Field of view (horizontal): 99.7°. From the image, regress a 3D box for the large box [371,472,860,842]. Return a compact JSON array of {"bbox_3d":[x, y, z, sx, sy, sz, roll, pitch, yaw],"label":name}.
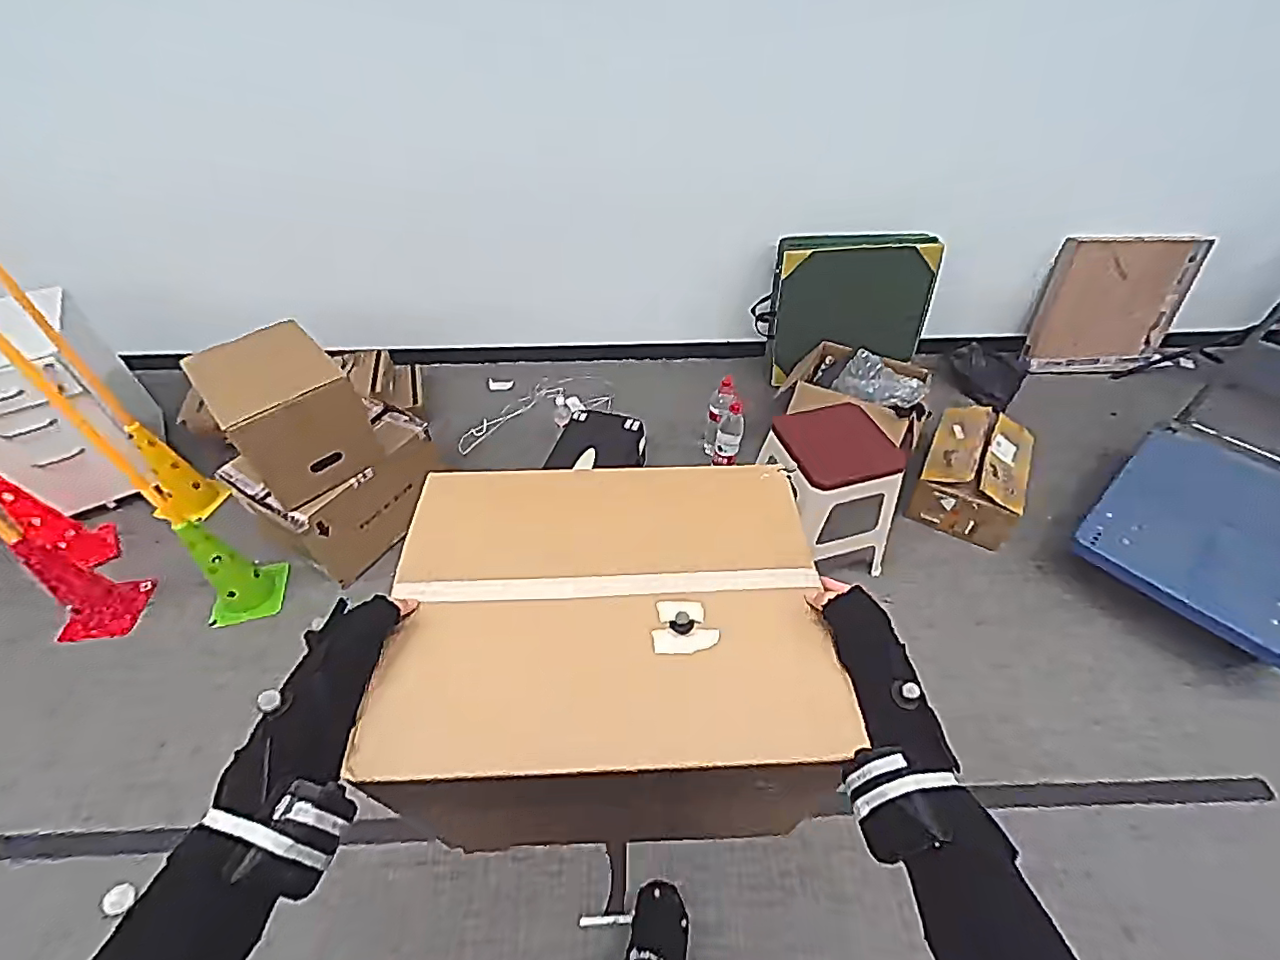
[{"bbox_3d":[-0.026,0.209,0.640,0.408,0.320,0.320,-1,48,-2],"label":"large box"}]
